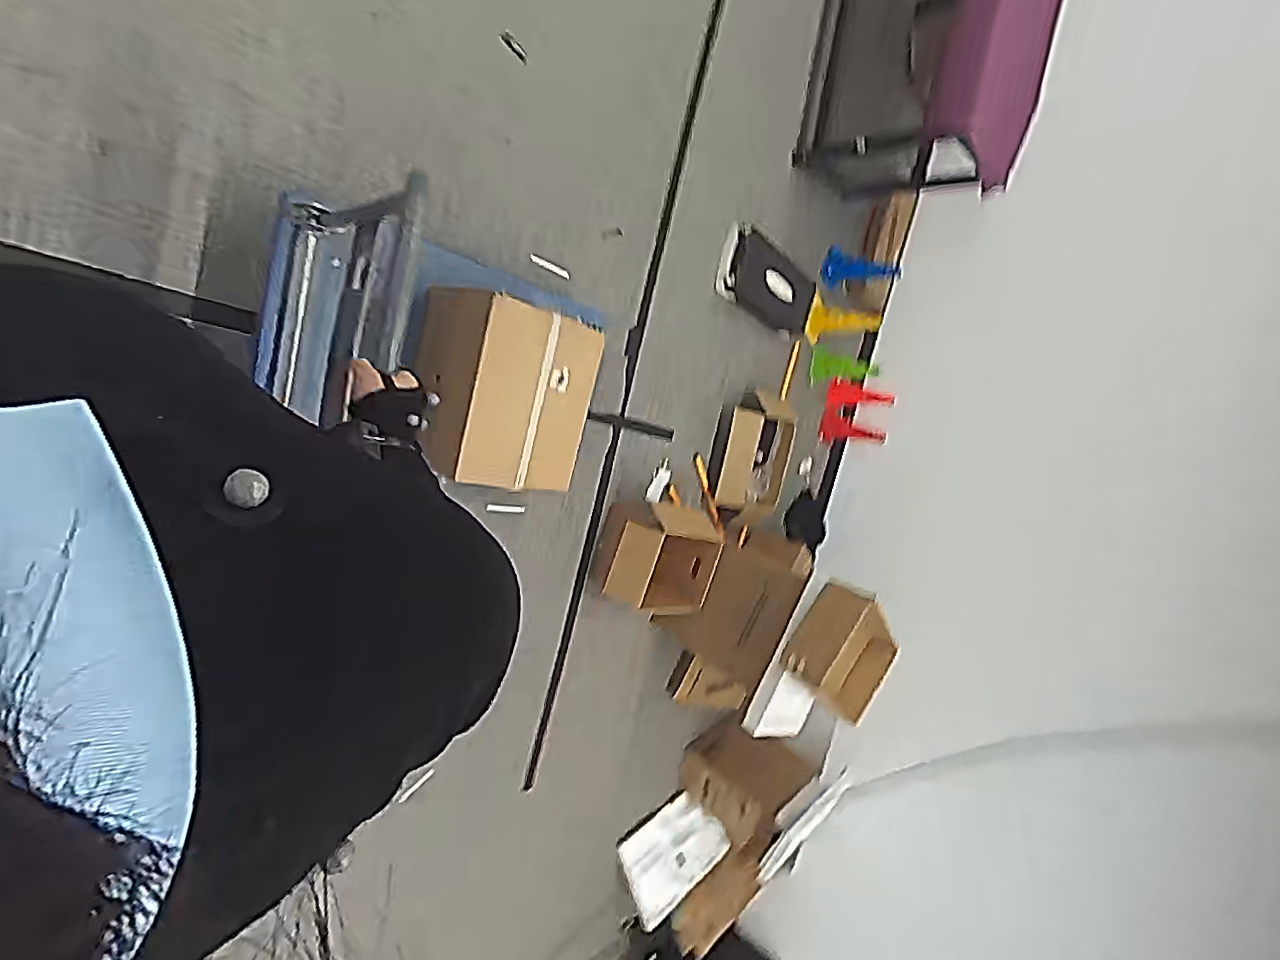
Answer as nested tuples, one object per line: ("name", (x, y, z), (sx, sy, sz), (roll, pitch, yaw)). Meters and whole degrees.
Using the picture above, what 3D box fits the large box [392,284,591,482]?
("large box", (-0.372, -0.232, 1.334), (0.320, 0.320, 0.408), (8, 99, -48))
